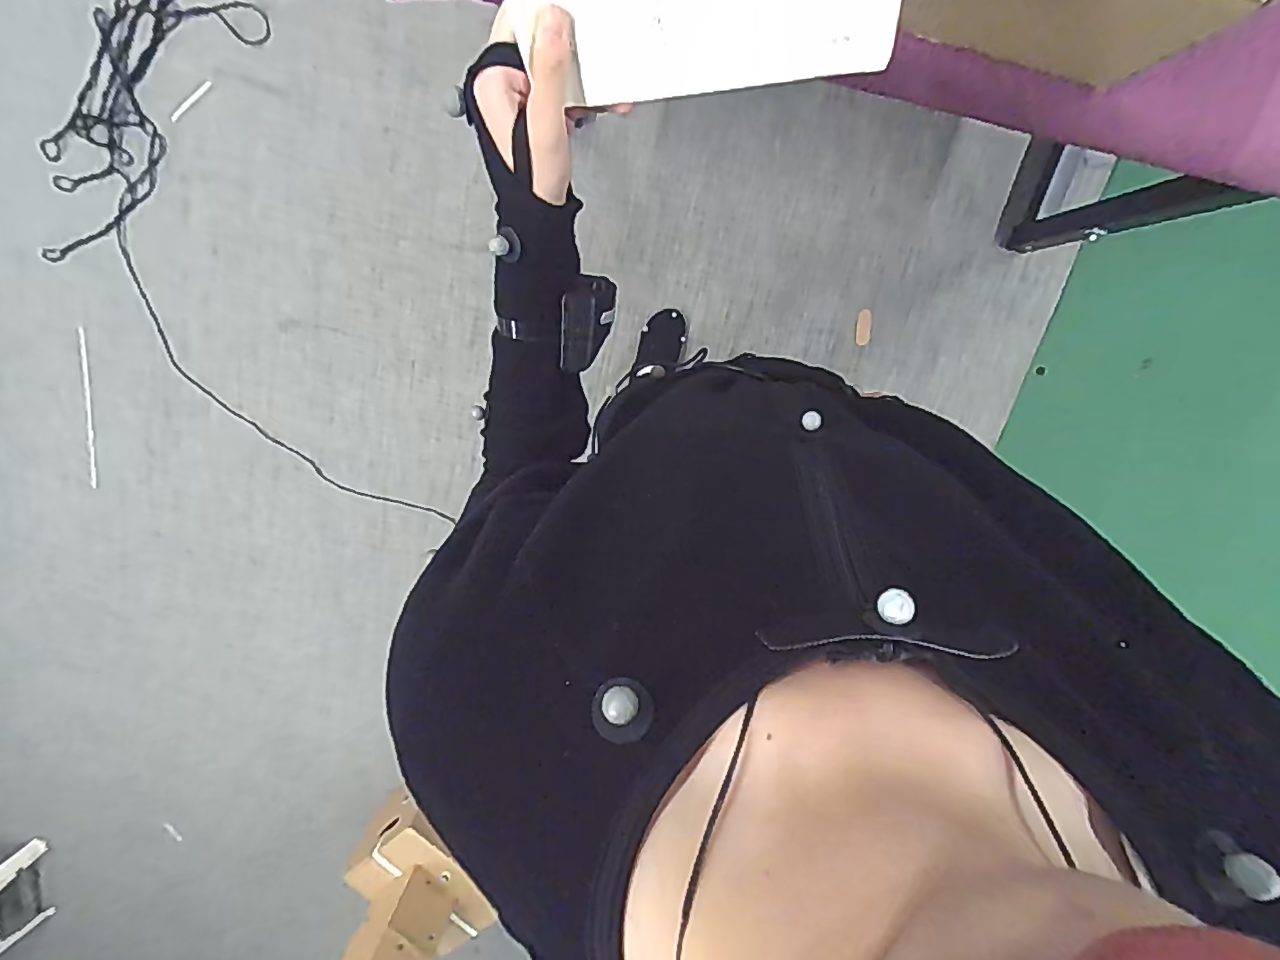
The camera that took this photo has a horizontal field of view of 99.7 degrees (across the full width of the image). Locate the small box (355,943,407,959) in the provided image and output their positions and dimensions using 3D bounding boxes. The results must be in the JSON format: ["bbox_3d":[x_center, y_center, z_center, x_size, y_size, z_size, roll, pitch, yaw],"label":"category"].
[{"bbox_3d":[-0.658,1.290,1.317,0.179,0.176,0.168,-41,99,14],"label":"small box"}]
